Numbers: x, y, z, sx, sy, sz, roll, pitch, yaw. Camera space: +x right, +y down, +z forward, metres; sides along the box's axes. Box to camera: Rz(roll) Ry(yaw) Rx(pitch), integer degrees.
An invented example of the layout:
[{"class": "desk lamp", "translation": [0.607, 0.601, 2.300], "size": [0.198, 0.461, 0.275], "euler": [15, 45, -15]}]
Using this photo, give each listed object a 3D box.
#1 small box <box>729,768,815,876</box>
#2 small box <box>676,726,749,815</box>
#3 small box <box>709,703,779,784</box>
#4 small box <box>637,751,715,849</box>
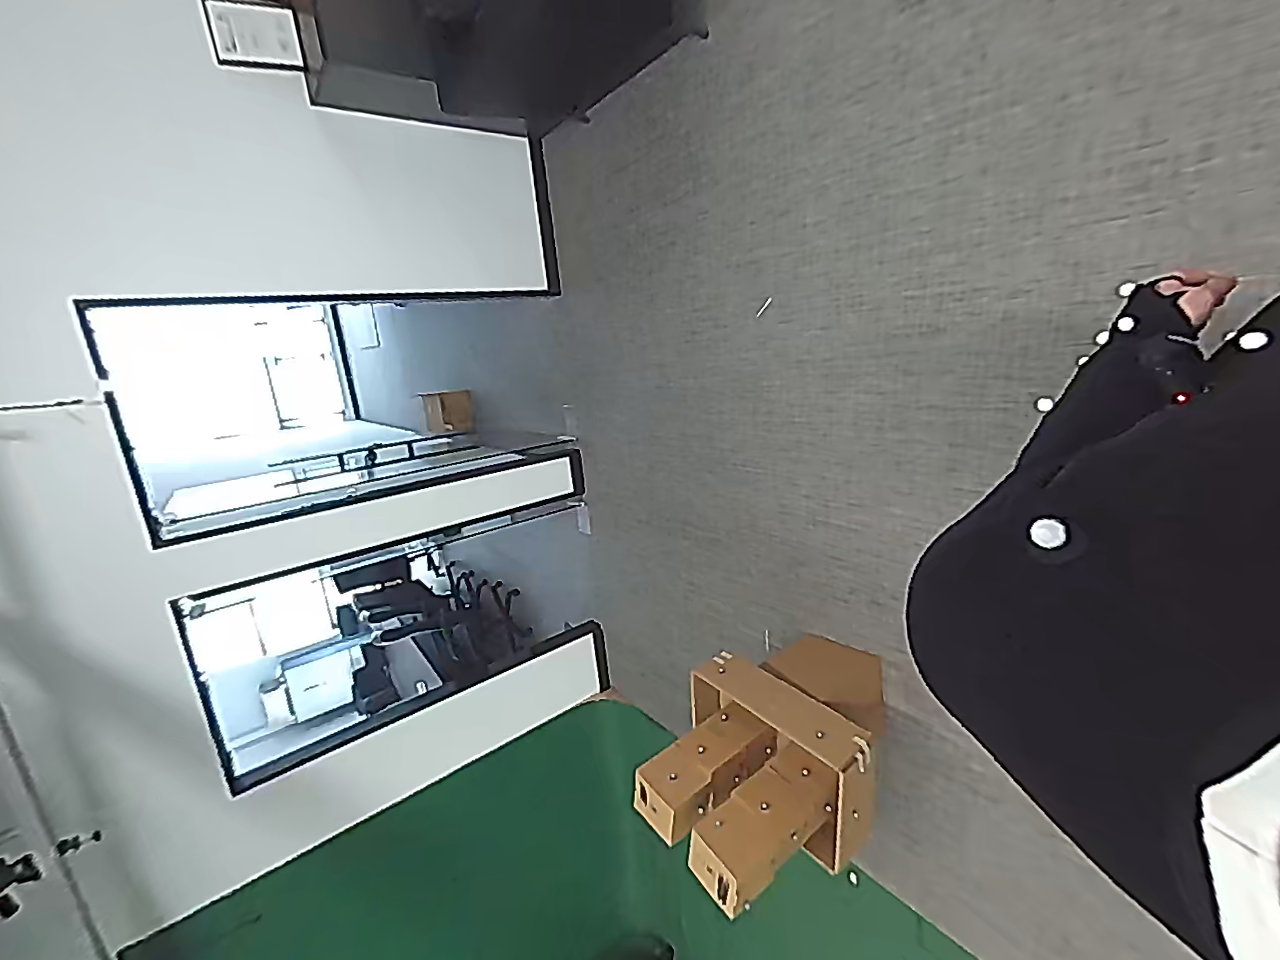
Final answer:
[{"class": "small box", "translation": [0.391, 1.001, 1.597], "size": [0.179, 0.176, 0.168], "euler": [30, 125, 46]}, {"class": "small box", "translation": [0.239, 0.947, 1.786], "size": [0.179, 0.176, 0.168], "euler": [13, 112, 49]}, {"class": "small box", "translation": [0.362, 0.910, 1.884], "size": [0.179, 0.176, 0.168], "euler": [14, 115, 50]}, {"class": "small box", "translation": [0.111, 0.986, 1.692], "size": [0.179, 0.176, 0.168], "euler": [25, 121, 44]}]
